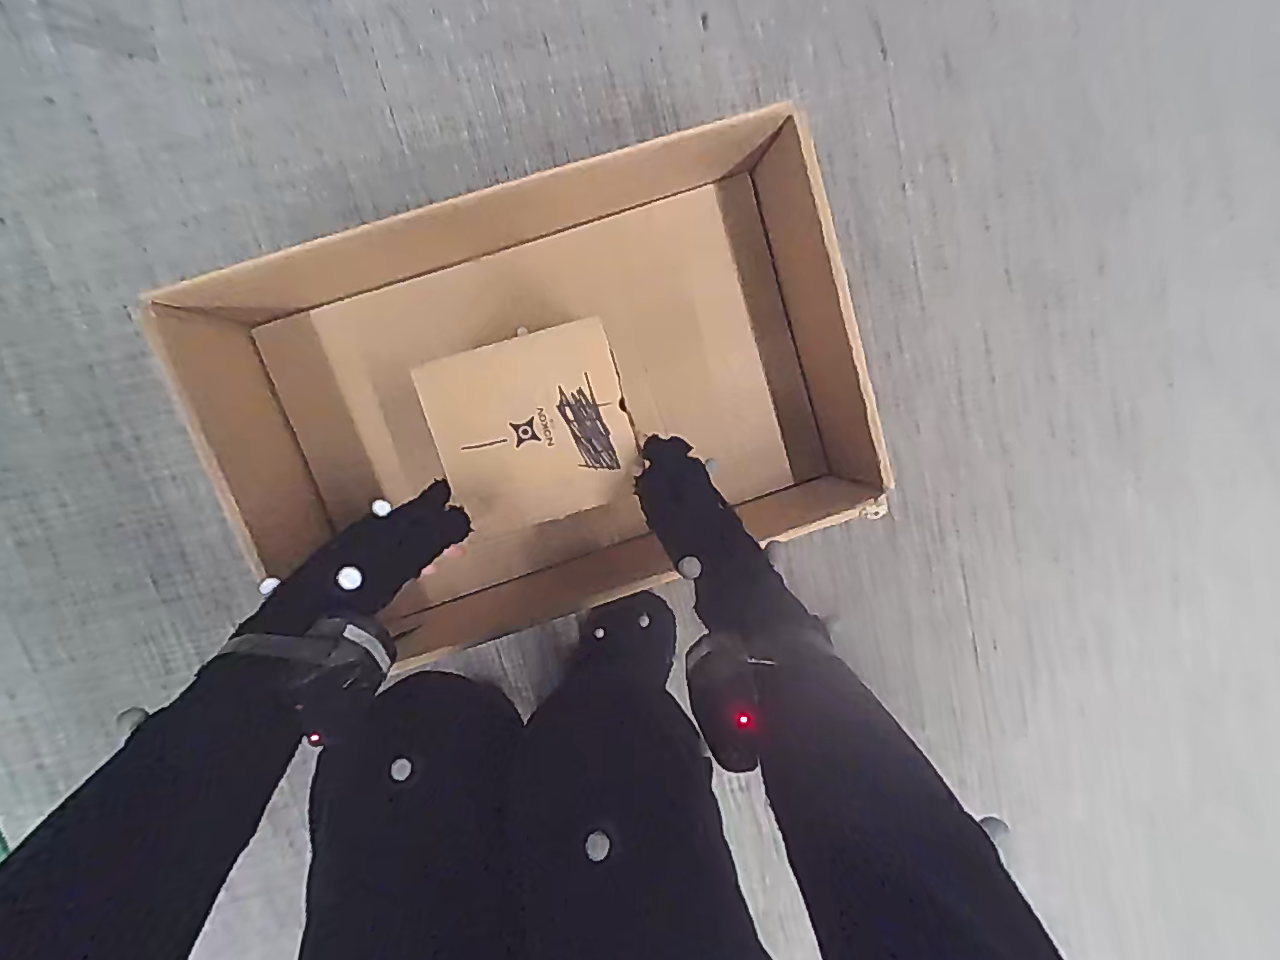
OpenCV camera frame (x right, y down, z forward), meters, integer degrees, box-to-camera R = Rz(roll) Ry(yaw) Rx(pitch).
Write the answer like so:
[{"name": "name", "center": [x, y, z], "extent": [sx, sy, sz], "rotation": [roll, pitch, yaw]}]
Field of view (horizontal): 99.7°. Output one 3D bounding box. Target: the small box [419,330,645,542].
[{"name": "small box", "center": [-0.106, -0.051, 0.581], "extent": [0.179, 0.176, 0.168], "rotation": [-16, 98, -3]}]
